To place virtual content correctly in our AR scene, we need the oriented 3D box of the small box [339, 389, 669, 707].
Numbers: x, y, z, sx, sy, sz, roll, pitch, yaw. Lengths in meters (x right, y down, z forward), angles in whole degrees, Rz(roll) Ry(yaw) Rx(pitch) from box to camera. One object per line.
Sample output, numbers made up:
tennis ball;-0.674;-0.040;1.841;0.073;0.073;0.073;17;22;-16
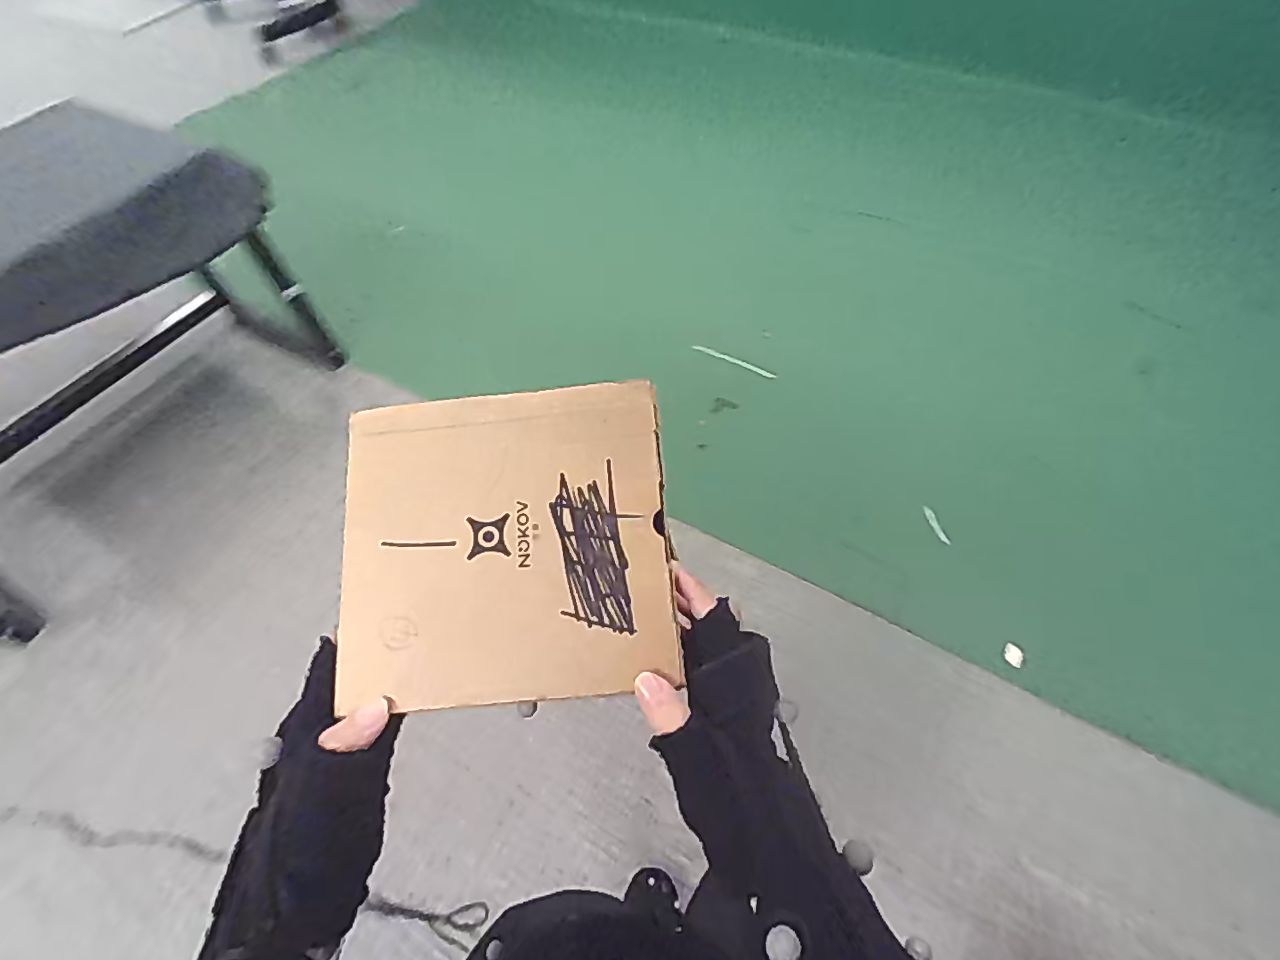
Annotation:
small box;-0.076;0.052;0.379;0.179;0.176;0.168;-7;74;1
